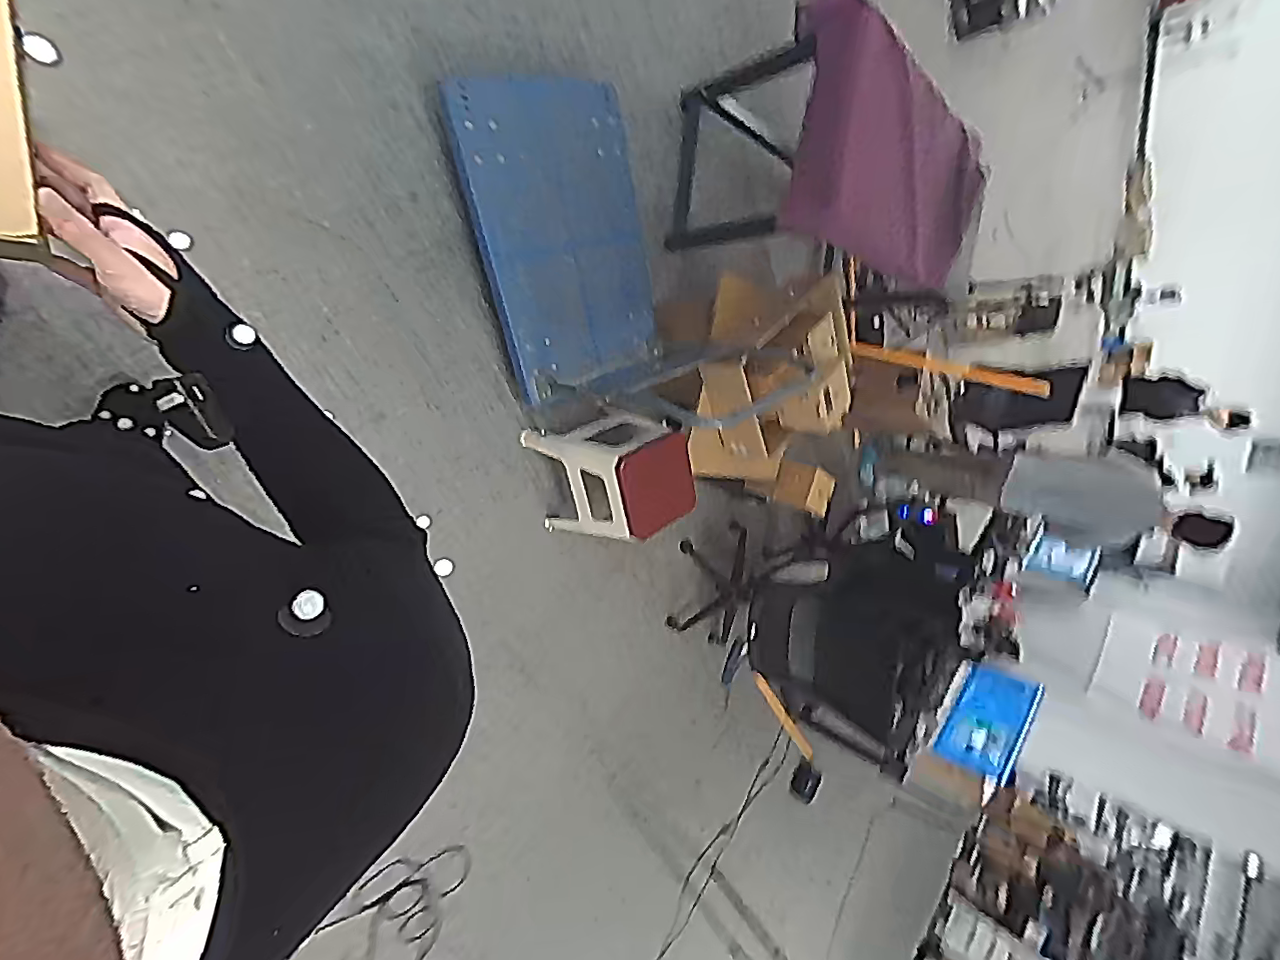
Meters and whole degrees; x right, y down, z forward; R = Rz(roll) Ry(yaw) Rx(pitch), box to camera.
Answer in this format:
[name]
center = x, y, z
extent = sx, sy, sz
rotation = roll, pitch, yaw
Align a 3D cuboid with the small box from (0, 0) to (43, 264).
[small box]
center = -0.503, -0.244, 0.333
extent = 0.168, 0.176, 0.179
rotation = -8, 107, -44
